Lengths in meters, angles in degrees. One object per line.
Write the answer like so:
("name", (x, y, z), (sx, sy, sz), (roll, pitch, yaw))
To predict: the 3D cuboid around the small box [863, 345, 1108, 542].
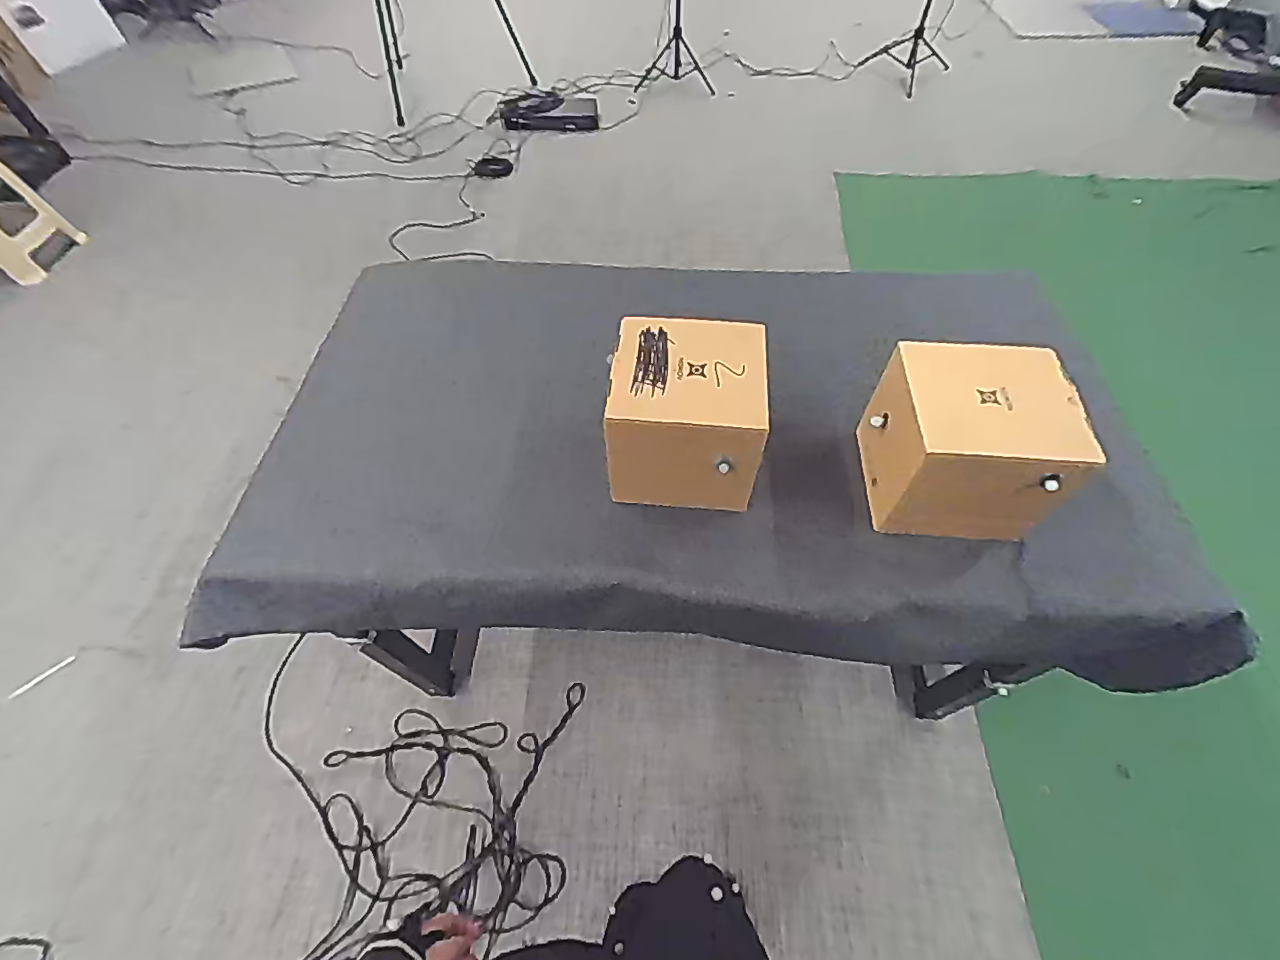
("small box", (0.379, -0.038, 0.641), (0.179, 0.176, 0.168), (4, 56, 4))
